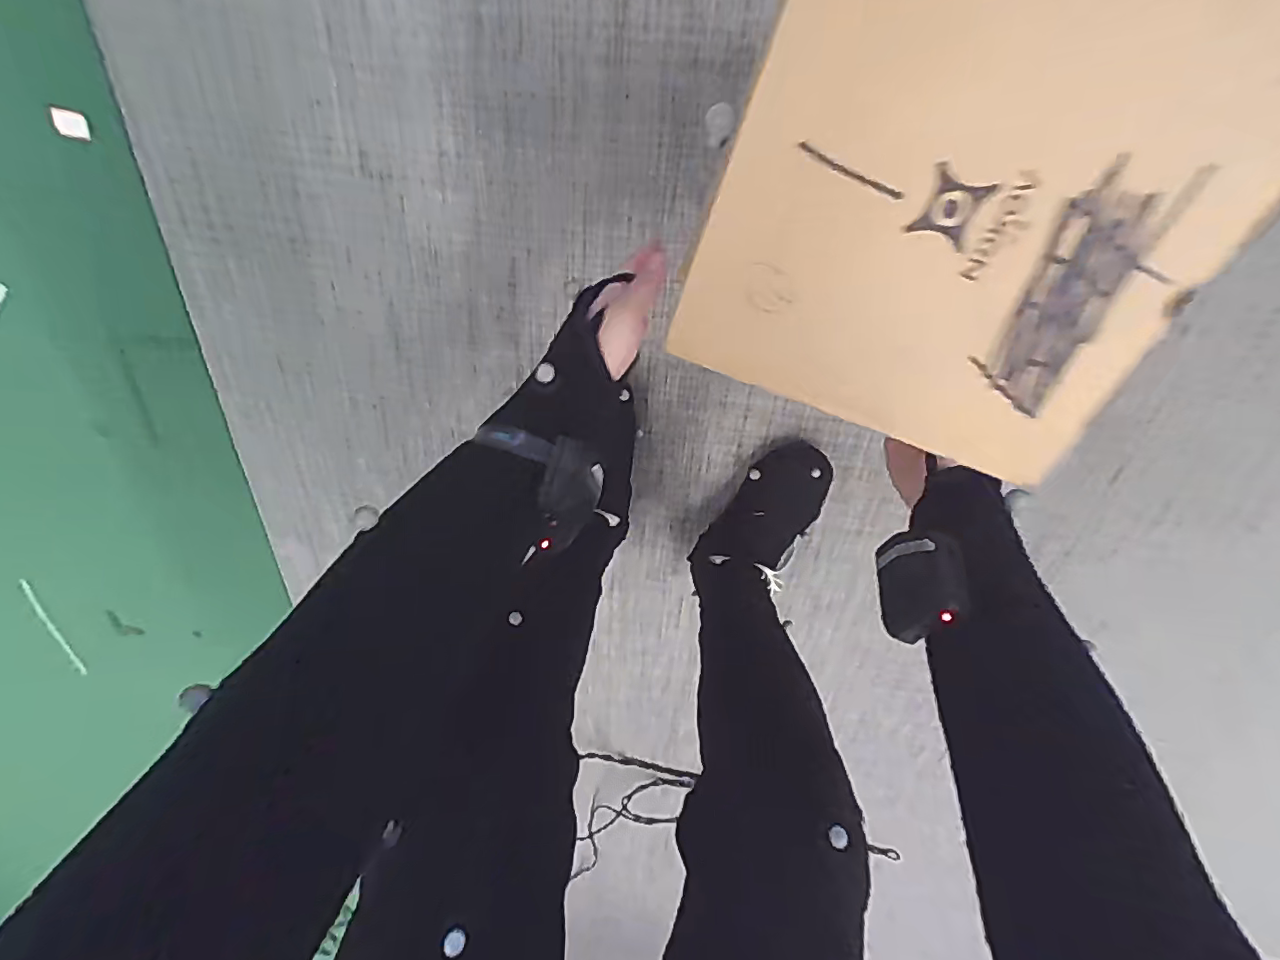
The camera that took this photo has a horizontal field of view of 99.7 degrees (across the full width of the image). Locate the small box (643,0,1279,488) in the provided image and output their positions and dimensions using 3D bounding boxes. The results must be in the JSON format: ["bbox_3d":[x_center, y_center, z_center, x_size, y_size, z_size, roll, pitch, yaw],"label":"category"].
[{"bbox_3d":[0.121,-0.130,0.235,0.179,0.176,0.168,22,122,-3],"label":"small box"}]
